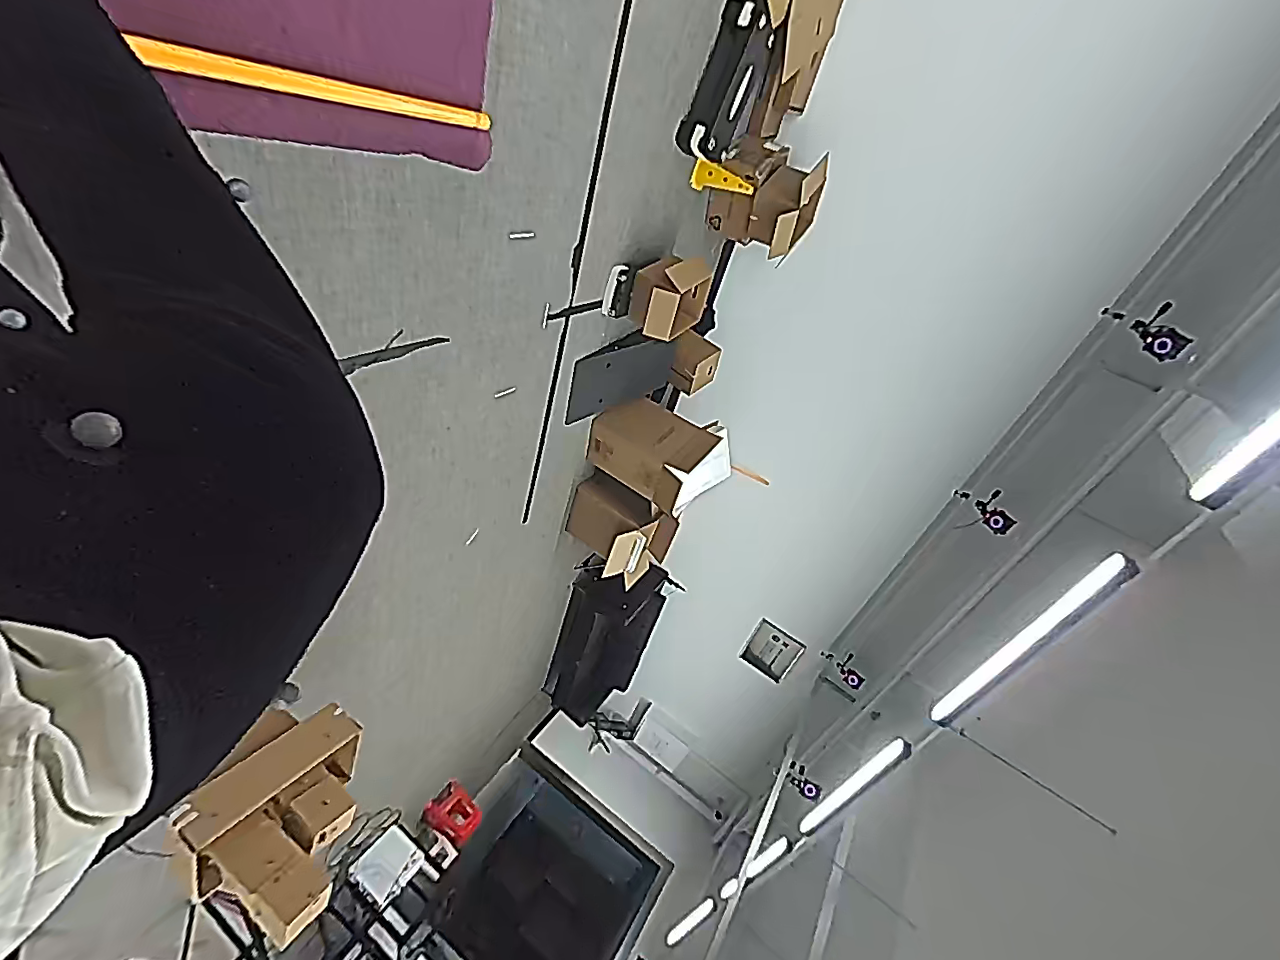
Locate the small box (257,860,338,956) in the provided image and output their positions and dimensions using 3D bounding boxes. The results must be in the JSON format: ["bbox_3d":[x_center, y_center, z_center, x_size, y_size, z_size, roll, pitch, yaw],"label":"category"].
[{"bbox_3d":[-1.189,1.474,1.873,0.168,0.176,0.179,-31,150,-61],"label":"small box"}]

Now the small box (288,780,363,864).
[{"bbox_3d":[-1.220,1.317,2.091,0.179,0.176,0.168,-21,141,-62],"label":"small box"}]

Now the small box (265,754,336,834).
[{"bbox_3d":[-1.353,1.242,2.149,0.179,0.176,0.168,-26,145,-59],"label":"small box"}]
